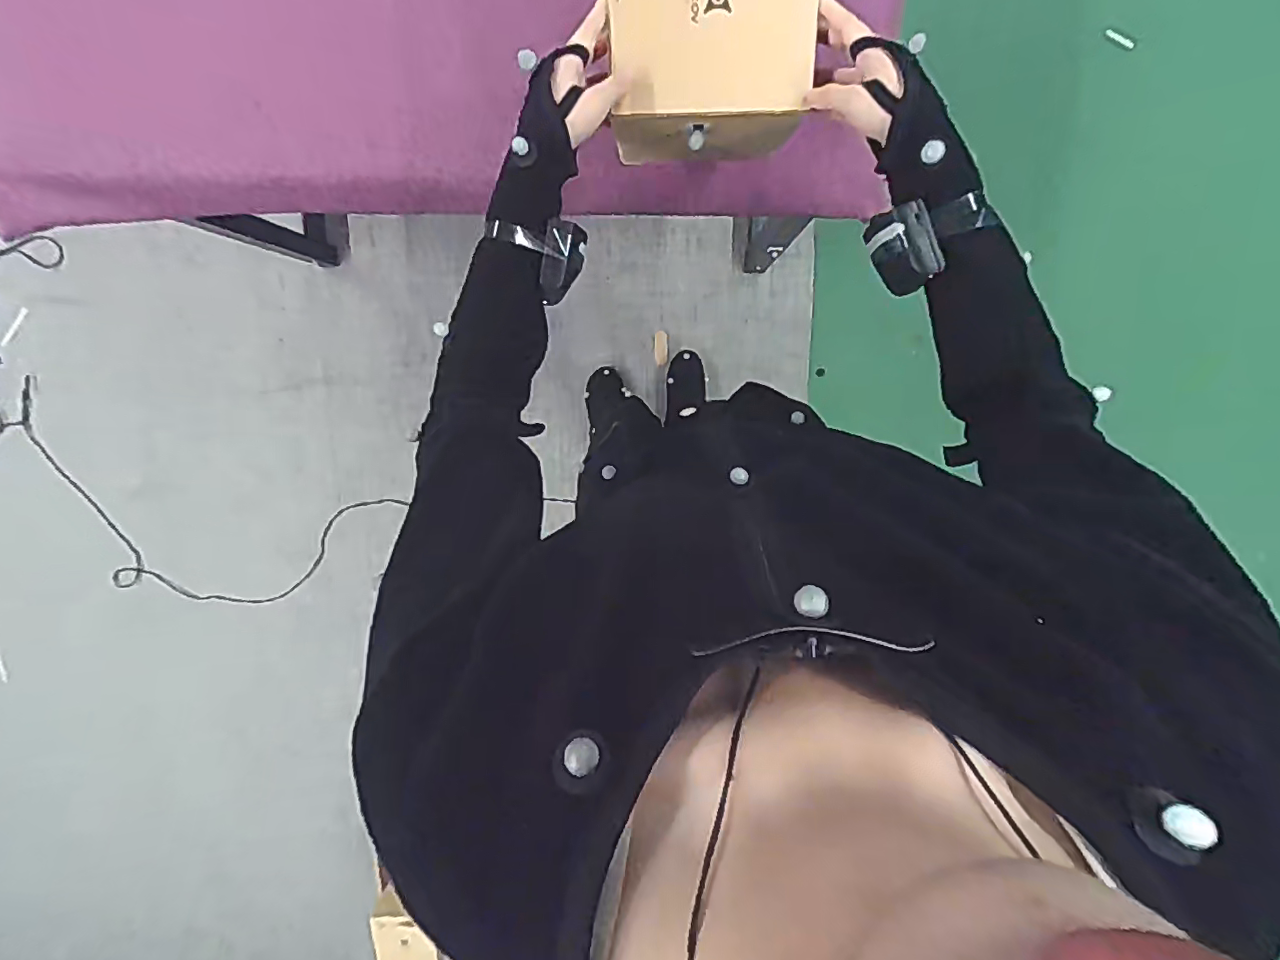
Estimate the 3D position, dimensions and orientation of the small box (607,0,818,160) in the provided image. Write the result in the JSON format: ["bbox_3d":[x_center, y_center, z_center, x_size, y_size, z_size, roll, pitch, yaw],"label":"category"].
[{"bbox_3d":[0.064,-0.421,0.519,0.179,0.176,0.168,1,108,4],"label":"small box"}]

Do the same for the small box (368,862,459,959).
[{"bbox_3d":[-0.606,1.187,1.470,0.168,0.176,0.179,-3,100,2],"label":"small box"}]
